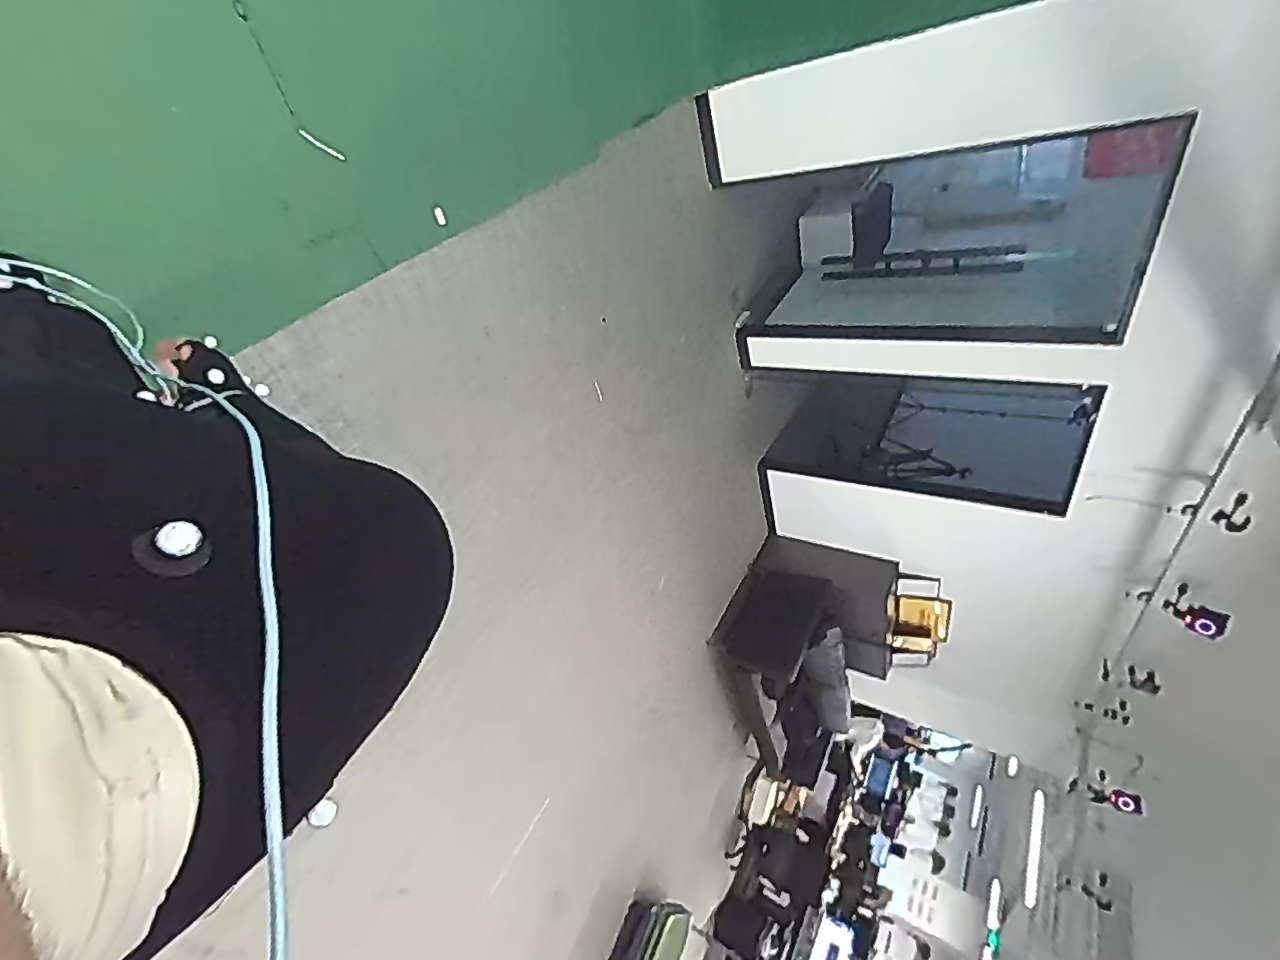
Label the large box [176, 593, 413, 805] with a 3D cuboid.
[{"bbox_3d":[-0.949,0.595,1.516,0.408,0.320,0.320,-54,139,-34],"label":"large box"}]
